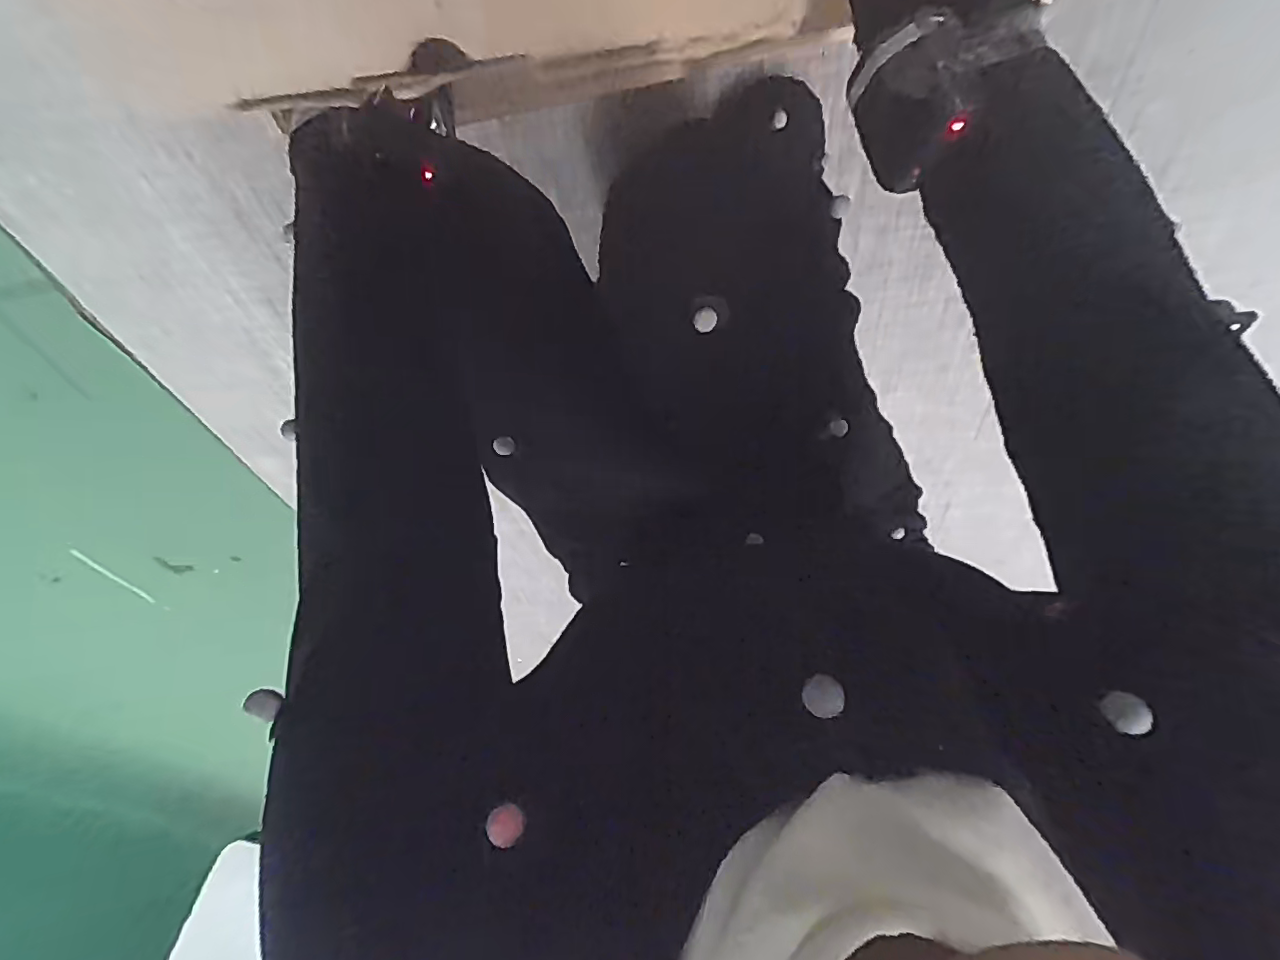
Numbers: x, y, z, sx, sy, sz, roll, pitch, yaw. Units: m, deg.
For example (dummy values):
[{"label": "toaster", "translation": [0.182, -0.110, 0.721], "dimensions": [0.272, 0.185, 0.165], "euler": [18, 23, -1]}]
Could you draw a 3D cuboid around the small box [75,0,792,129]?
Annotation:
[{"label": "small box", "translation": [-0.049, -0.212, 0.125], "dimensions": [0.168, 0.176, 0.179], "euler": [-2, 136, 8]}]
